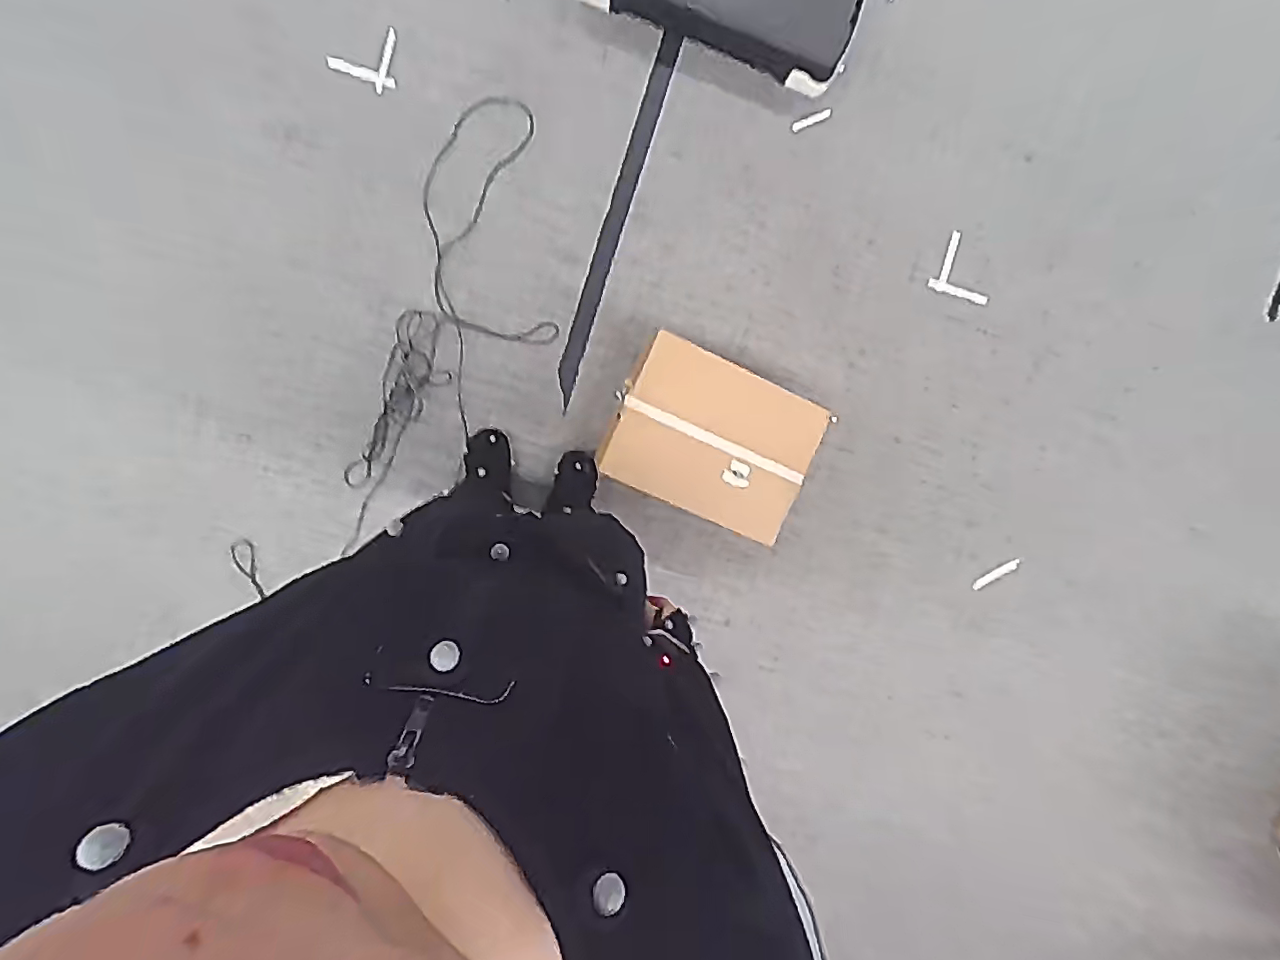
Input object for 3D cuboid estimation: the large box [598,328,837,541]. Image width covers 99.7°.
[{"bbox_3d":[0.148,-0.099,1.232,0.408,0.320,0.320,23,93,-9],"label":"large box"}]
